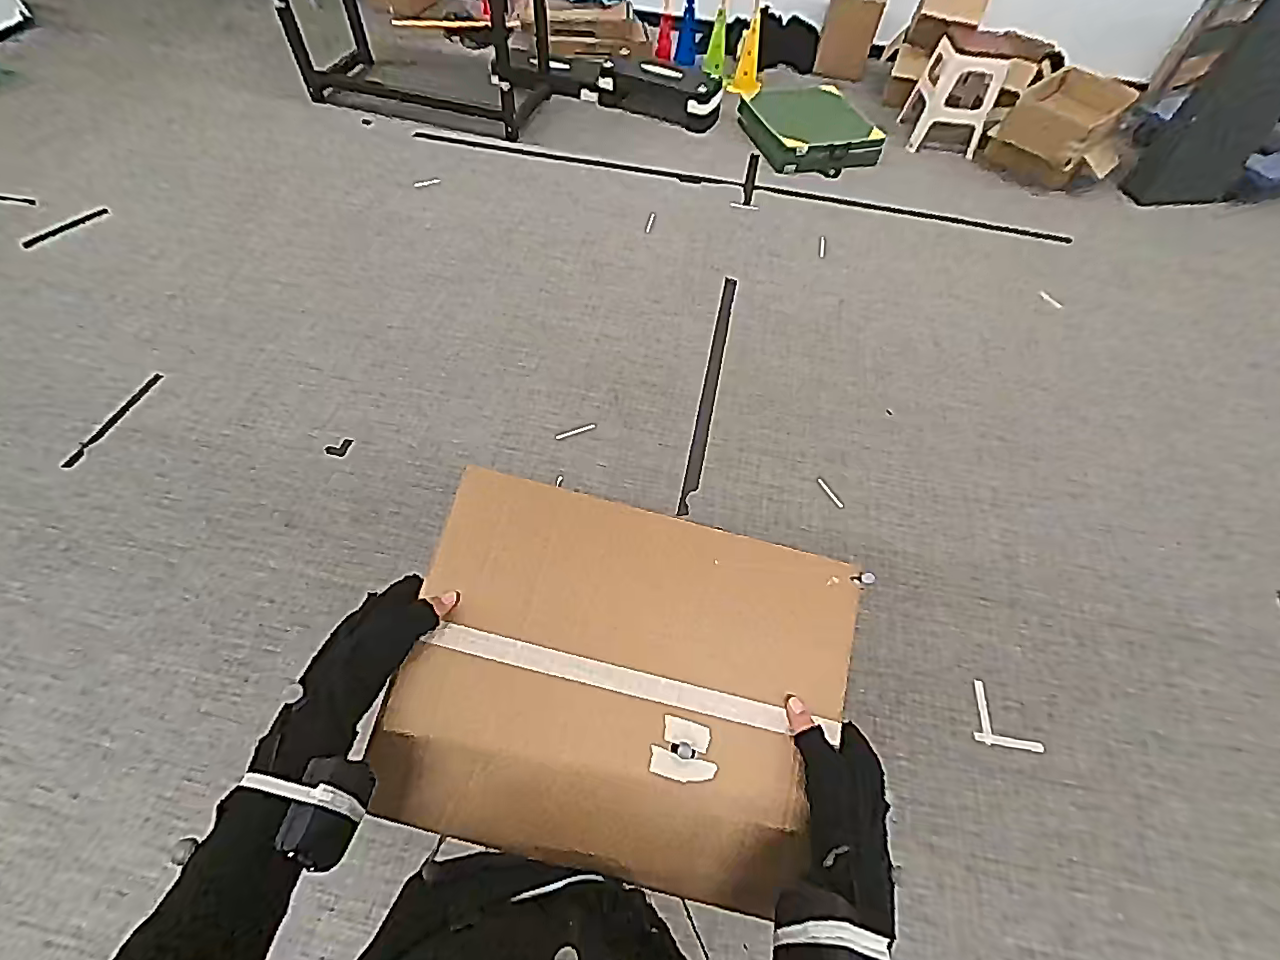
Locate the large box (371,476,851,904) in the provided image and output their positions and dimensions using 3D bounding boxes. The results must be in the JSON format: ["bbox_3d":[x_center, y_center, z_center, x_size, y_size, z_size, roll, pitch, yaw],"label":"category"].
[{"bbox_3d":[-0.021,0.221,0.653,0.408,0.320,0.320,15,76,0],"label":"large box"}]
